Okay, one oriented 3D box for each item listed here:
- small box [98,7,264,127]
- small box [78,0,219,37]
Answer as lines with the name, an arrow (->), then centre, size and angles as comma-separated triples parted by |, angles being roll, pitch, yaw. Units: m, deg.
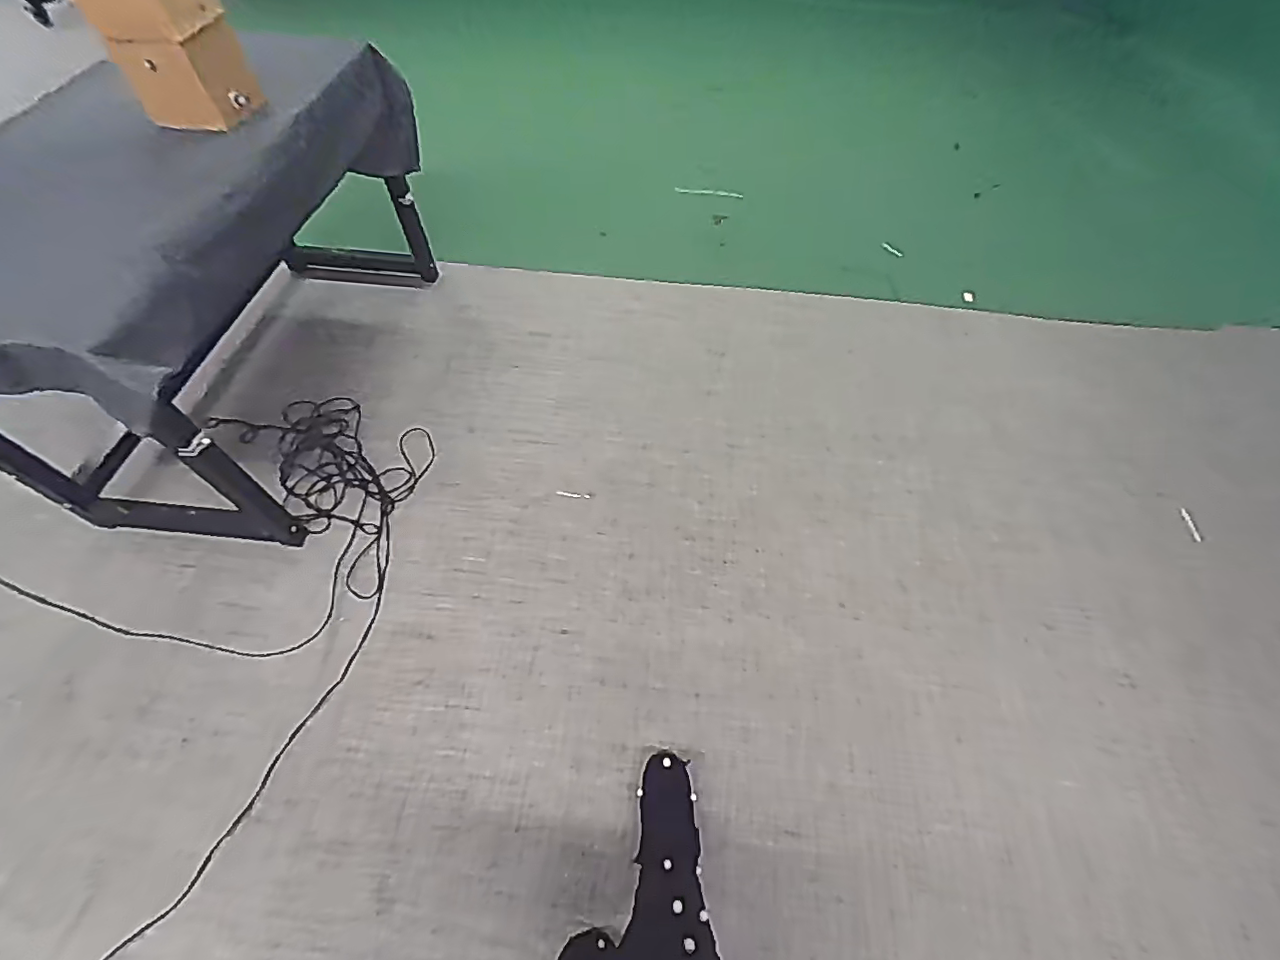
small box -> -0.969, -0.889, 1.162 | 0.179, 0.176, 0.168 | 7, 59, 3
small box -> -0.960, -0.971, 1.022 | 0.179, 0.176, 0.168 | 5, 58, 4
